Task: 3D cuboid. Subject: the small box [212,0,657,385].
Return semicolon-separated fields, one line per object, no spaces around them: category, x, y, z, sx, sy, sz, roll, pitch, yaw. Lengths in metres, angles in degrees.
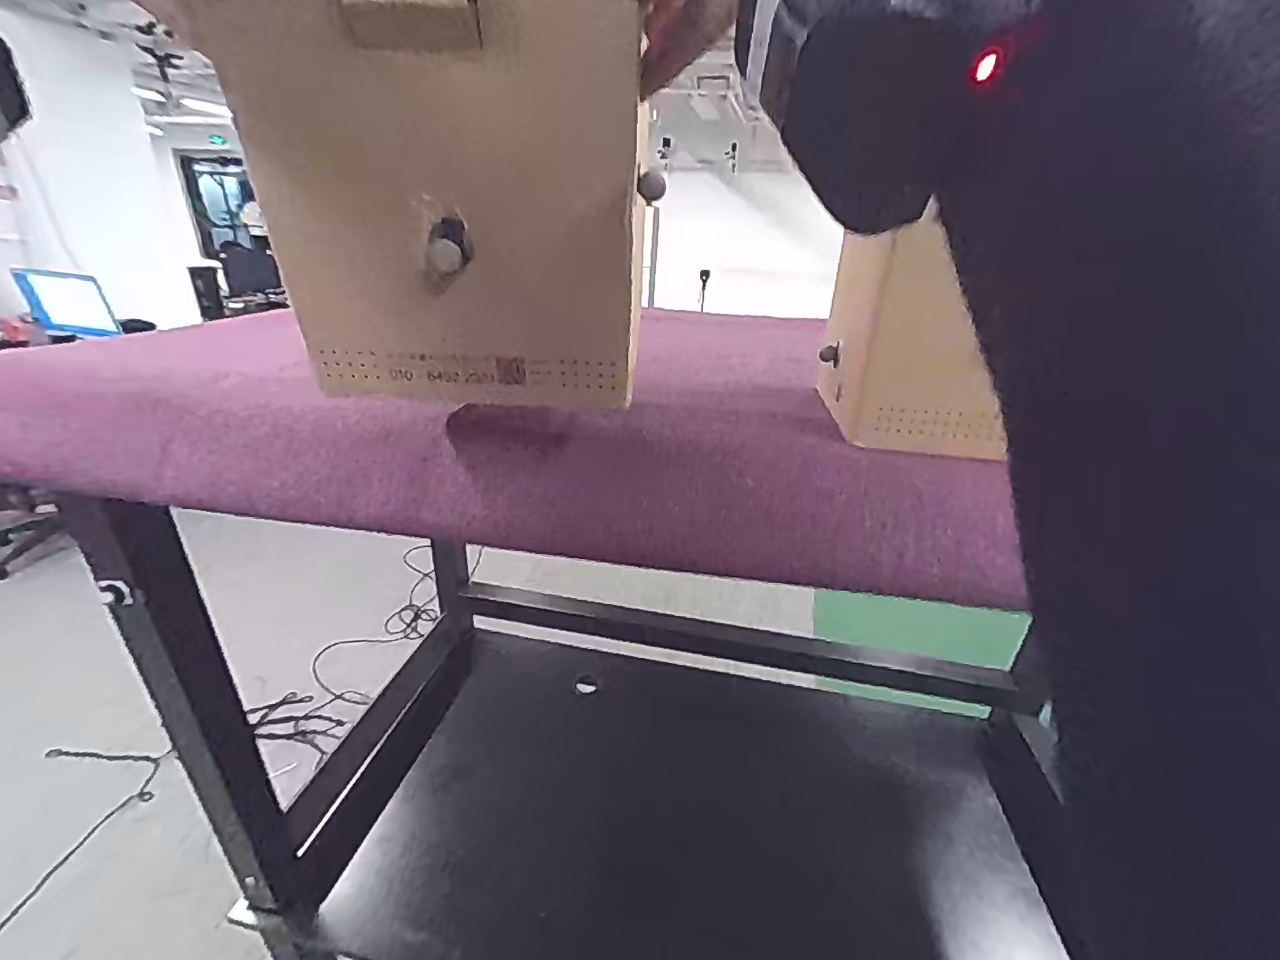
small box;-0.077;-0.165;0.309;0.168;0.176;0.179;3;36;0
